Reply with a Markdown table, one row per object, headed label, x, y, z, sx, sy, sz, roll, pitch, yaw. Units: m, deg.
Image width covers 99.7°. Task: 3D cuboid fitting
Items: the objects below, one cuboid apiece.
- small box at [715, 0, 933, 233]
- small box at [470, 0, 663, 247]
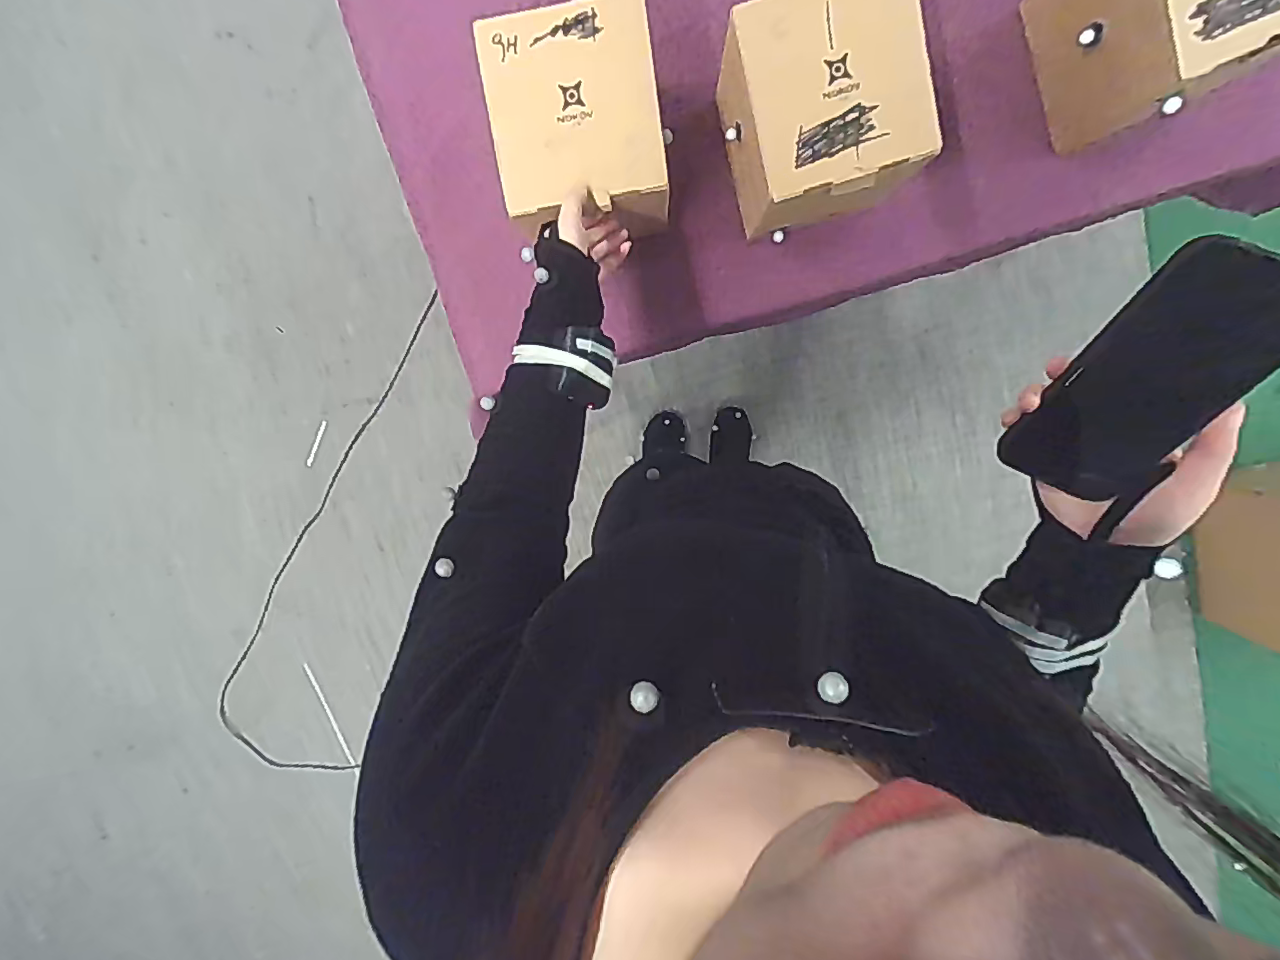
| label | x | y | z | sx | sy | sz | roll | pitch | yaw |
| --- | --- | --- | --- | --- | --- | --- | --- | --- | --- |
| small box | 0.184 | -0.387 | 0.585 | 0.168 | 0.176 | 0.179 | -14 | 99 | 5 |
| small box | -0.065 | -0.371 | 0.600 | 0.168 | 0.176 | 0.179 | -8 | 101 | 4 |
